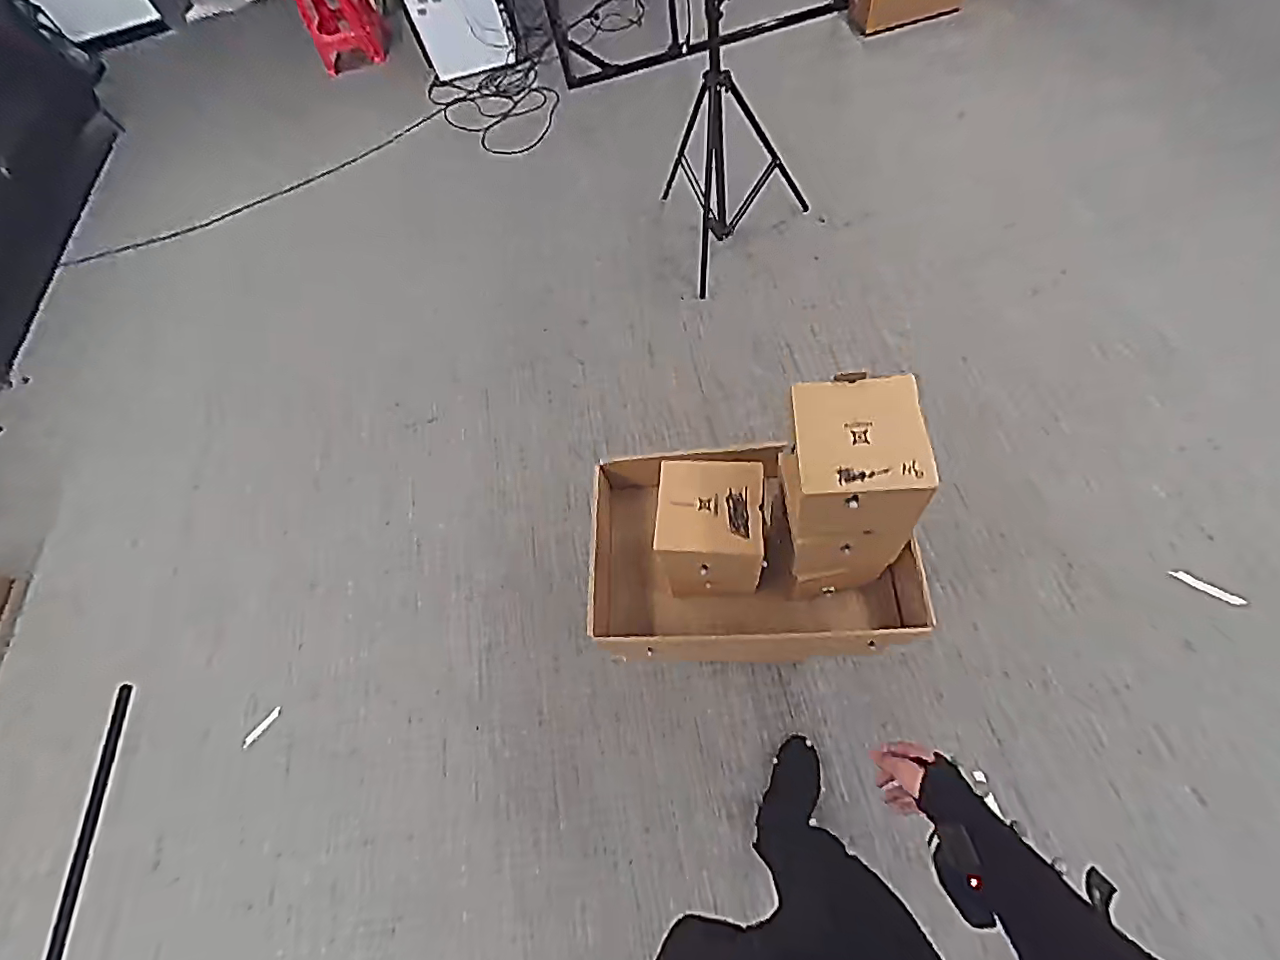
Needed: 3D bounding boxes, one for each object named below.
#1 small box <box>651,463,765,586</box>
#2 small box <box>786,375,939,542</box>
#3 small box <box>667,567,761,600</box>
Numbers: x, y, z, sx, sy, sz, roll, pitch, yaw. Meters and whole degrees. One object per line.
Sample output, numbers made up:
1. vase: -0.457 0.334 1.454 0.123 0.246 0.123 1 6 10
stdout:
1. small box: 0.124 0.083 0.944 0.179 0.176 0.168 1 64 11
2. small box: 0.300 -0.024 0.771 0.168 0.176 0.179 -4 62 12
3. small box: 0.146 0.143 1.096 0.179 0.176 0.168 -3 63 8
